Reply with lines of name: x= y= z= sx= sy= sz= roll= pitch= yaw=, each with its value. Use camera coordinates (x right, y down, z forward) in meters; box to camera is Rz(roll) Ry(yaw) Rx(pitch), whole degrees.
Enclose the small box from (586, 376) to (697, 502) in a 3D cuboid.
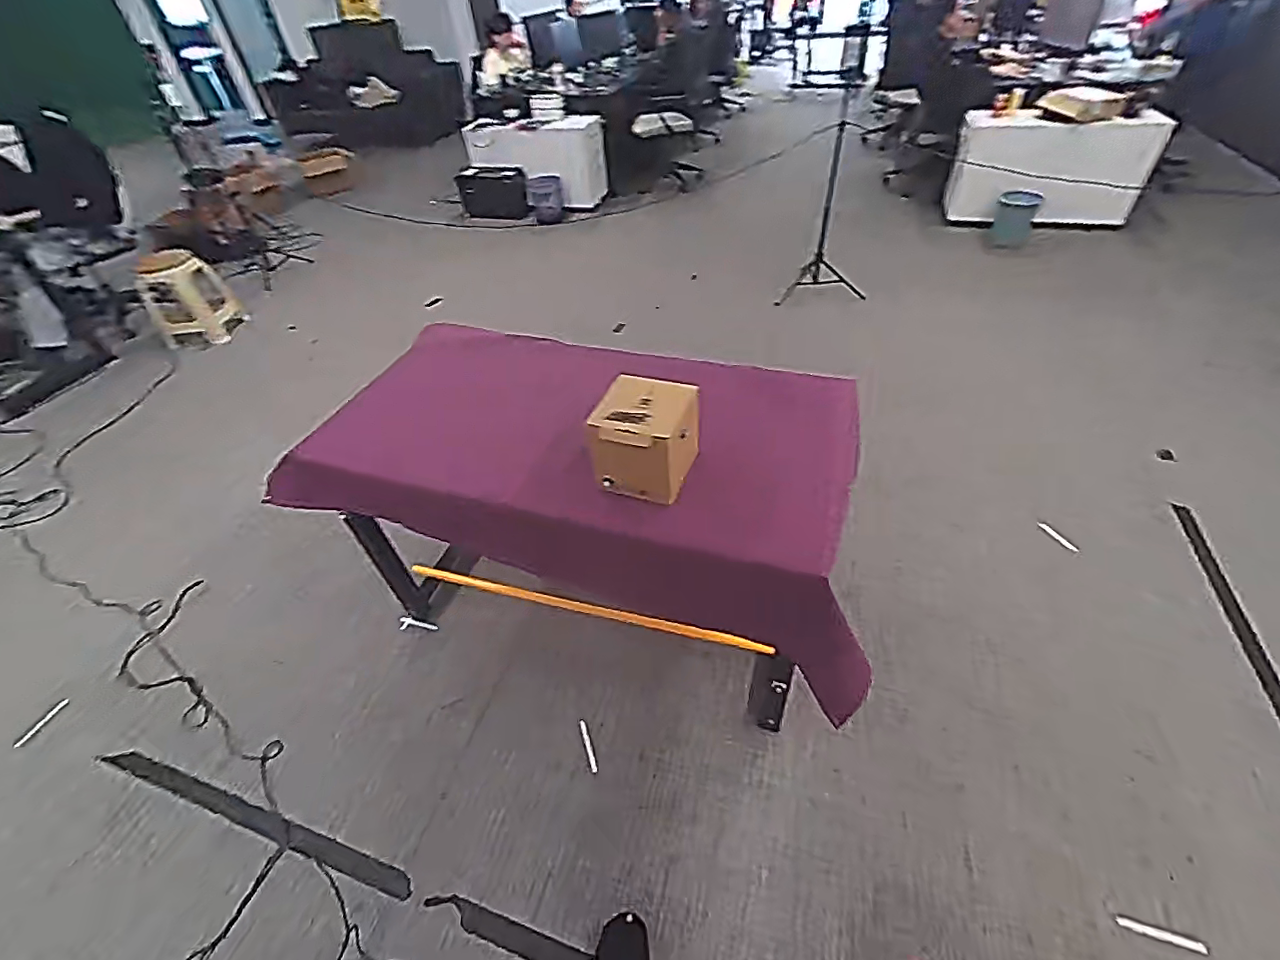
small box: x=0.013 y=-0.081 z=1.075 sx=0.168 sy=0.176 sz=0.179 roll=13 pitch=46 yaw=18
